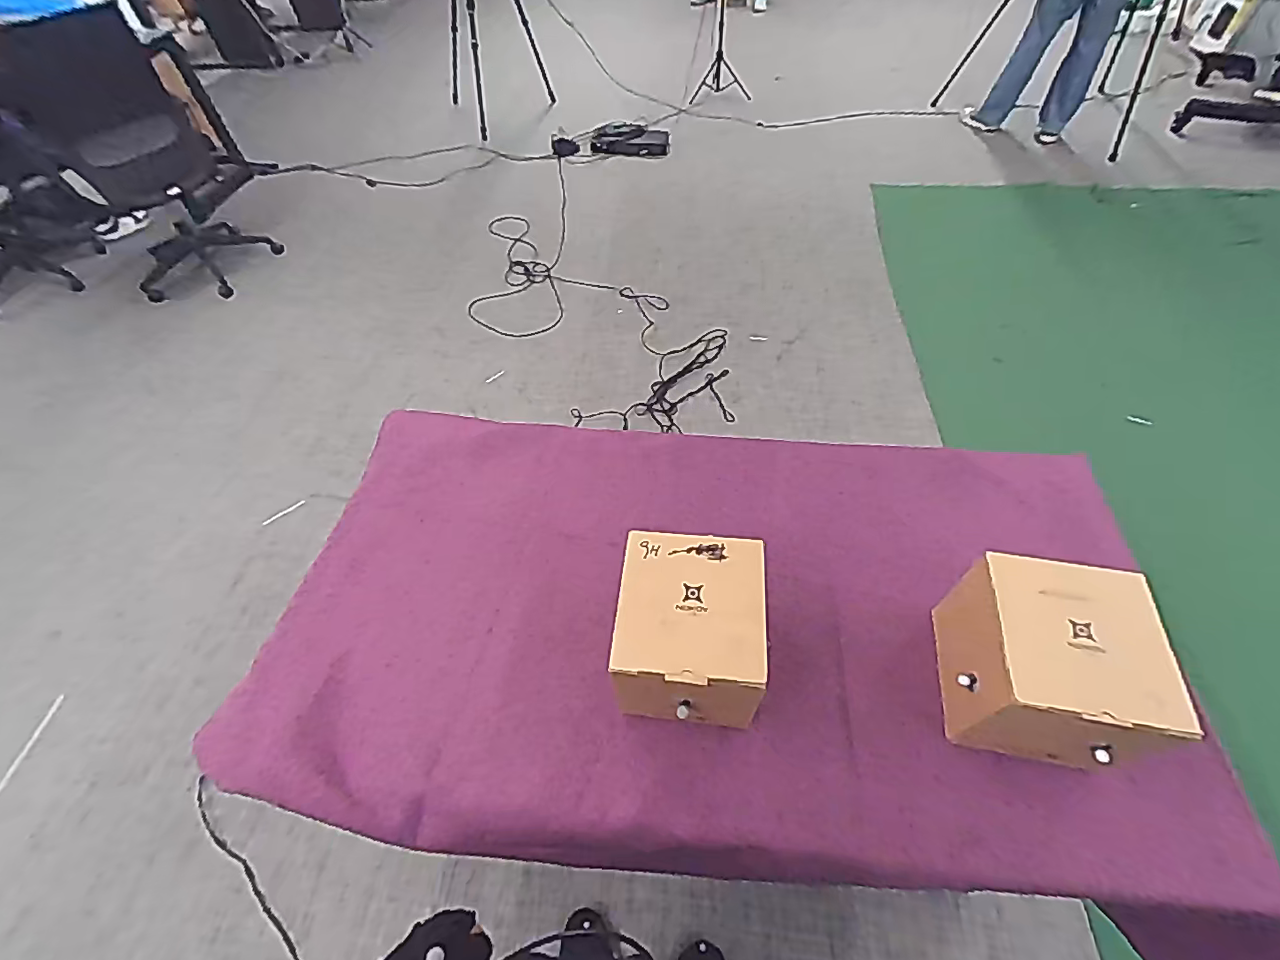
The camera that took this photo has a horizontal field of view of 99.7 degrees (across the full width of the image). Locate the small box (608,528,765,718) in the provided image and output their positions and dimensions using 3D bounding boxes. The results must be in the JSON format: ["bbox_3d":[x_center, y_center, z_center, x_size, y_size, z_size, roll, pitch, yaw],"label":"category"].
[{"bbox_3d":[0.062,0.181,0.669,0.168,0.176,0.179,4,53,6],"label":"small box"}]

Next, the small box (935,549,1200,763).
[{"bbox_3d":[0.465,0.207,0.626,0.168,0.176,0.179,9,53,10],"label":"small box"}]
